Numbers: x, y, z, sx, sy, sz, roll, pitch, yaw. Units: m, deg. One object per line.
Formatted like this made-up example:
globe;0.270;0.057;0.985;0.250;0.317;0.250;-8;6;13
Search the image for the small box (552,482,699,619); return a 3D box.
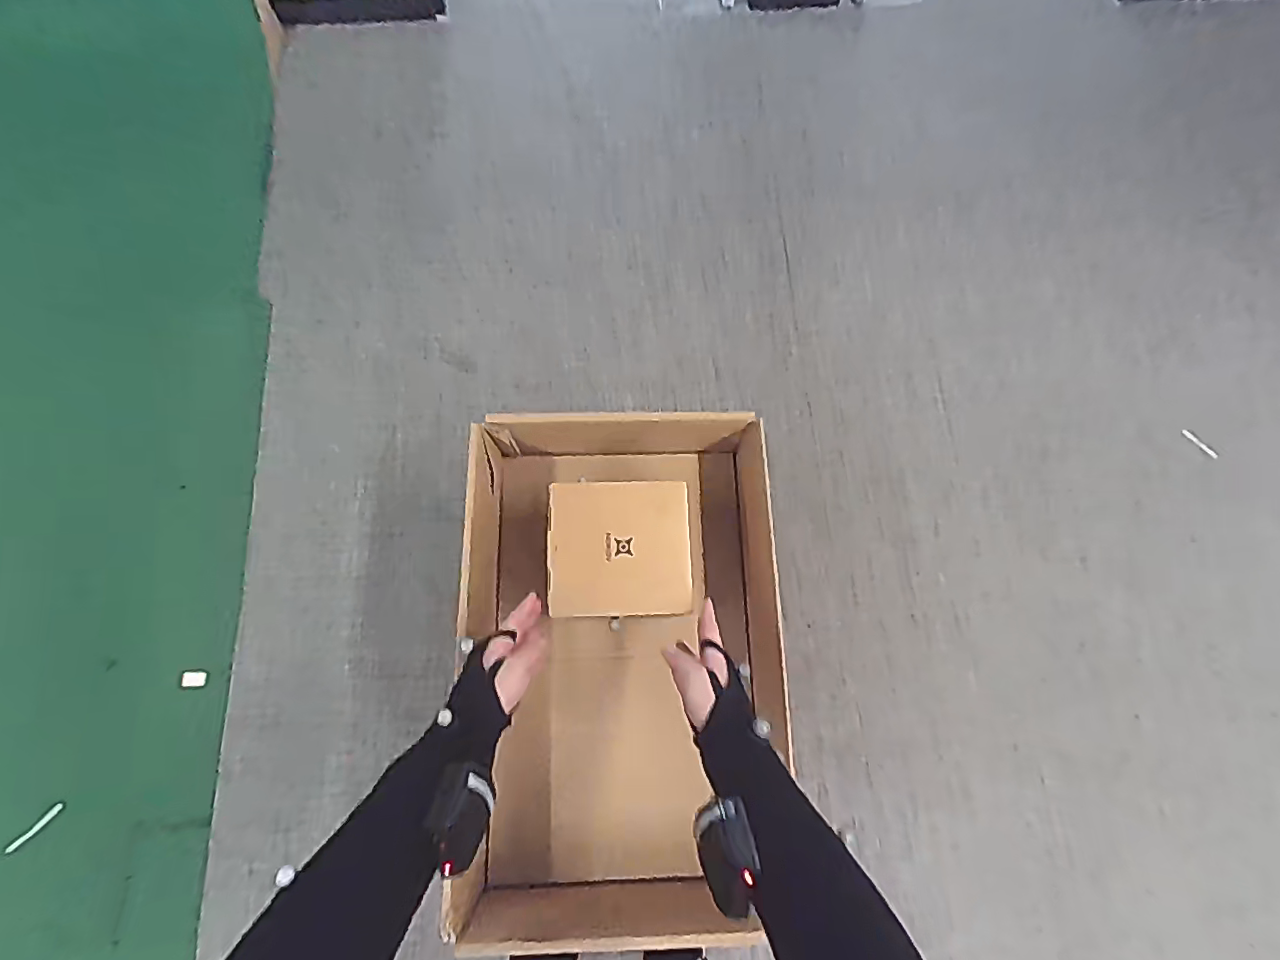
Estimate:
small box;-0.021;0.101;0.733;0.179;0.176;0.168;-1;75;-2
